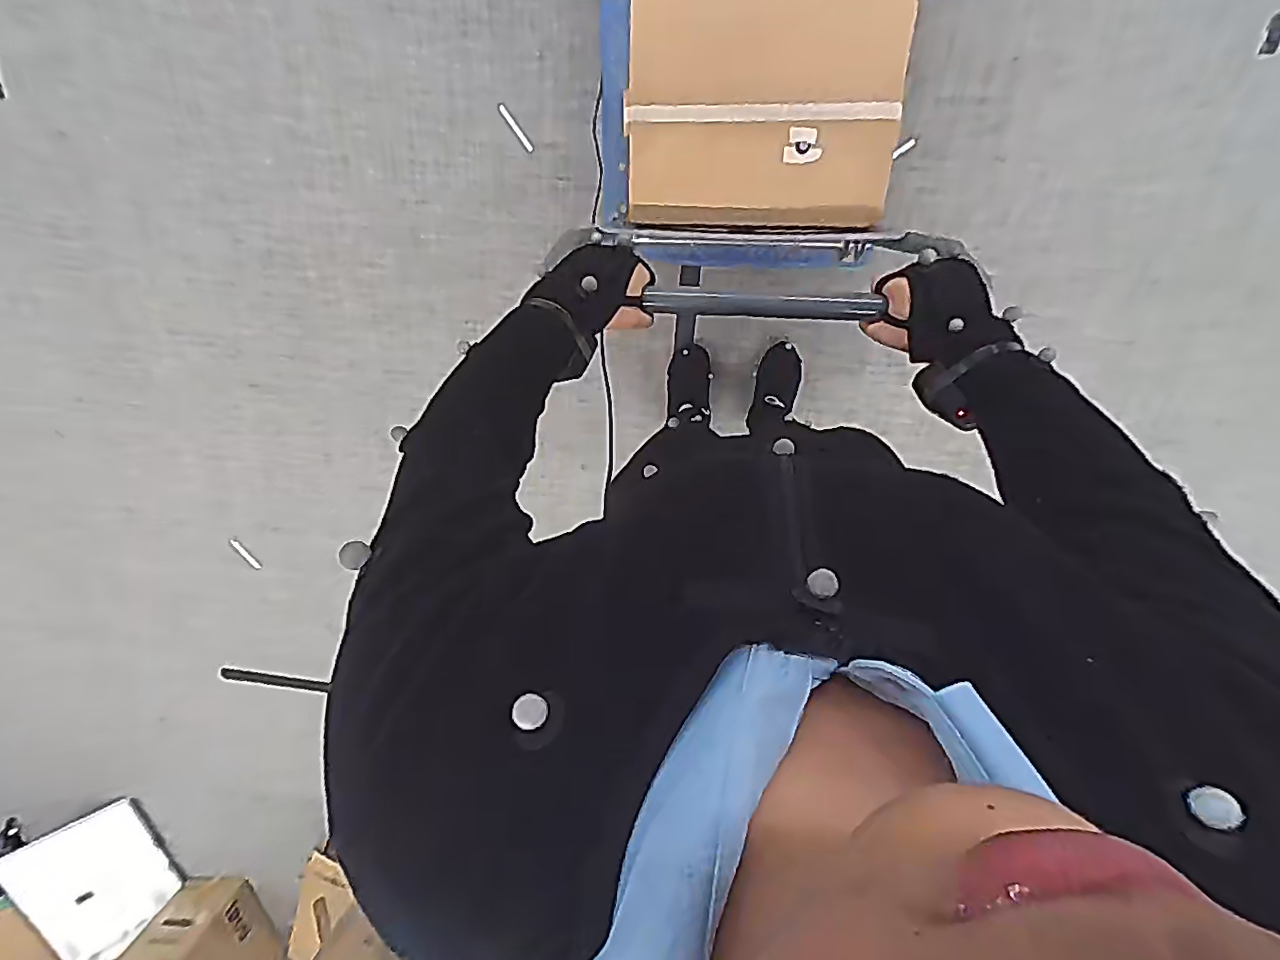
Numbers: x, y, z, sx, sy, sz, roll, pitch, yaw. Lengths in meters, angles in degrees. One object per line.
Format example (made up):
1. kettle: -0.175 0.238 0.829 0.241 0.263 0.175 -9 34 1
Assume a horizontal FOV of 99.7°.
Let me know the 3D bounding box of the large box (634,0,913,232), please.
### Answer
1. large box: 0.203 -0.623 0.969 0.408 0.320 0.320 3 114 5
